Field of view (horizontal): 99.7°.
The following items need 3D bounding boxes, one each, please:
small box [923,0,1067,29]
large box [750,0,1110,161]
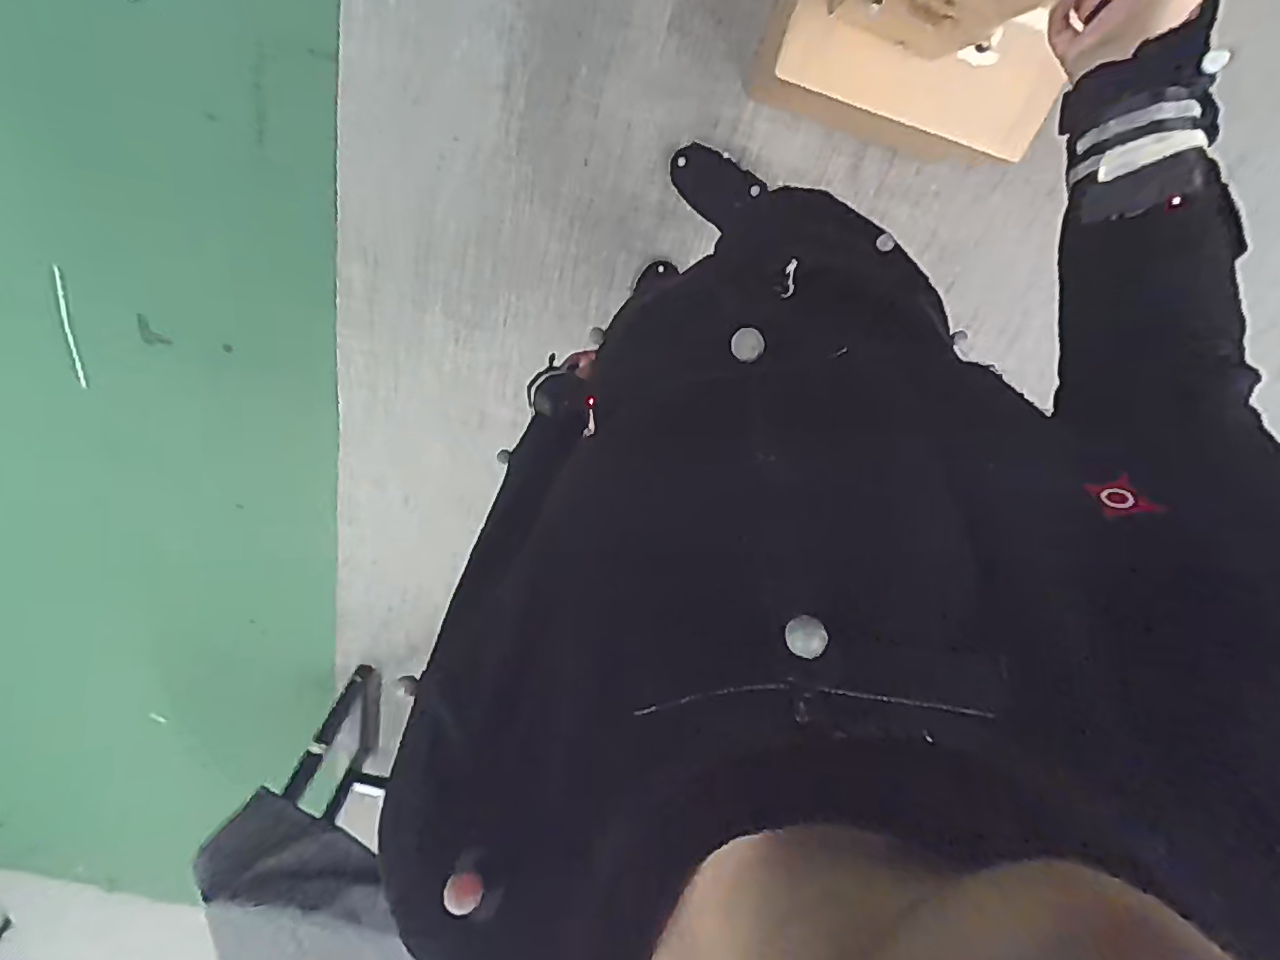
[{"bbox_3d":[0.345,-0.560,0.489,0.168,0.176,0.179,20,119,-9],"label":"small box"},{"bbox_3d":[0.432,-0.733,0.854,0.408,0.320,0.320,15,121,-7],"label":"large box"}]
